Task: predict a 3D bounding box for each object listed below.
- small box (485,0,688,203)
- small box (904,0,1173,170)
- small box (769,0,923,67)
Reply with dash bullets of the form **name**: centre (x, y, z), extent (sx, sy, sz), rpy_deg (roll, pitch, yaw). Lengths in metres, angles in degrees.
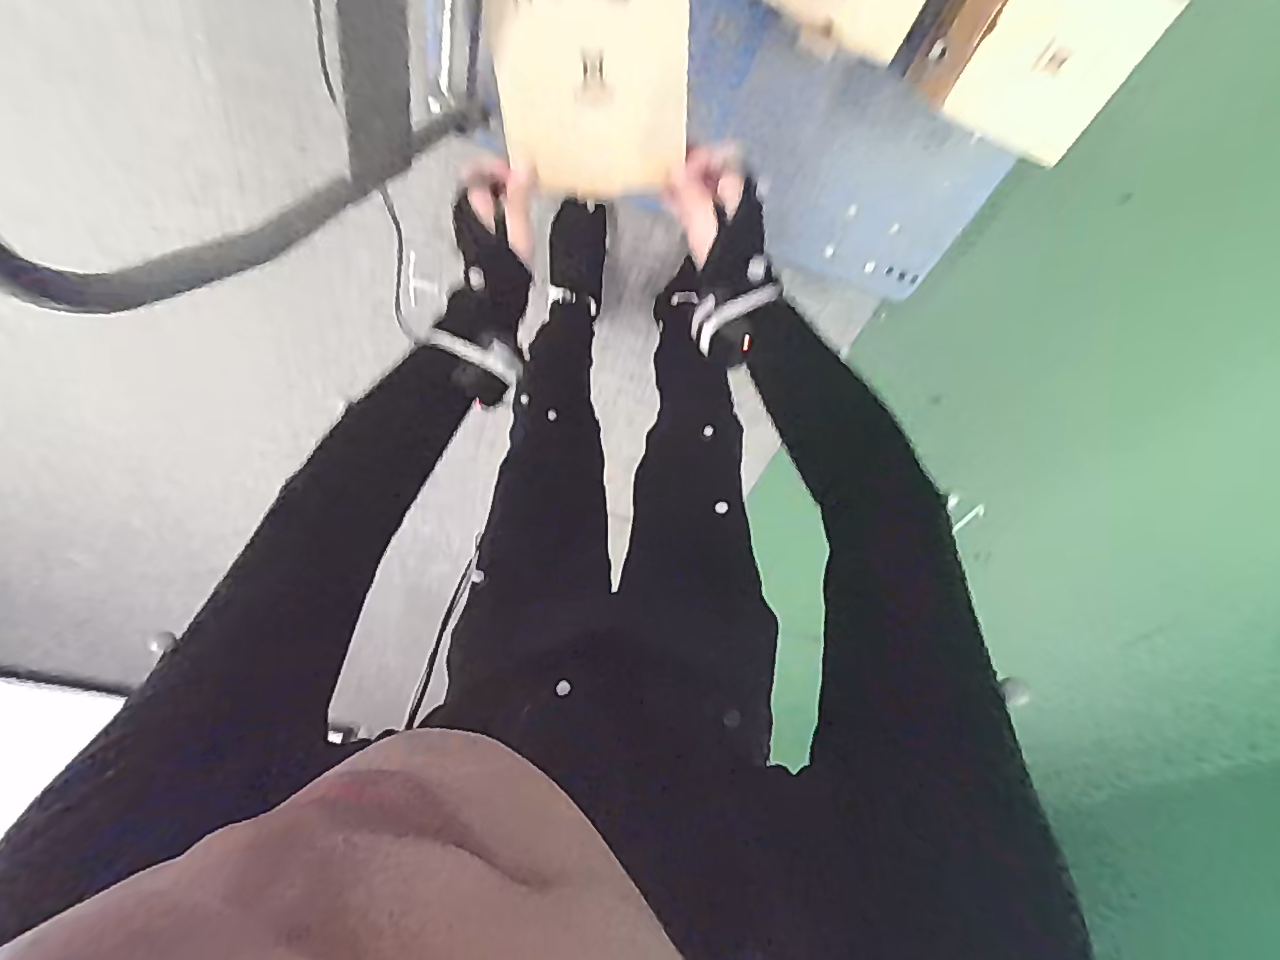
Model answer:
- **small box**: centre (-0.044, -0.387, 0.531), extent (0.168, 0.176, 0.179), rpy_deg (-1, 128, -1)
- **small box**: centre (0.462, -0.521, 0.663), extent (0.179, 0.176, 0.168), rpy_deg (18, 135, -11)
- **small box**: centre (0.241, -0.608, 0.598), extent (0.168, 0.176, 0.179), rpy_deg (19, 134, -12)
